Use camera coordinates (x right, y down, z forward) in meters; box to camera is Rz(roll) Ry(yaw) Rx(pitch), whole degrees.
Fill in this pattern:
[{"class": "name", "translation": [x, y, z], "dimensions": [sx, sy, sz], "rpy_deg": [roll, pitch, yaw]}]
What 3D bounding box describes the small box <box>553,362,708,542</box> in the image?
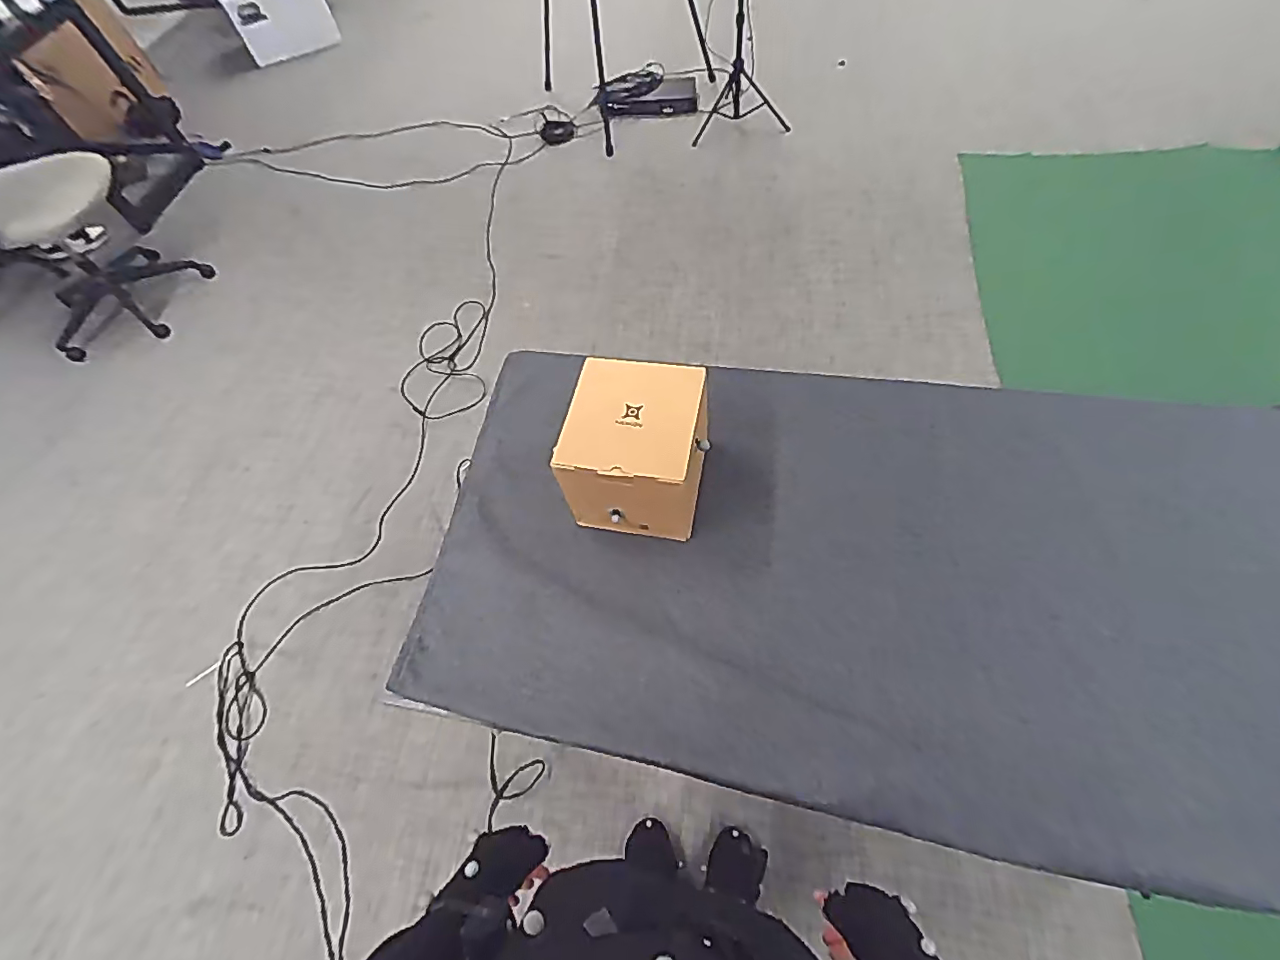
[{"class": "small box", "translation": [-0.003, -0.035, 0.745], "dimensions": [0.168, 0.176, 0.179], "rpy_deg": [8, 62, 11]}]
